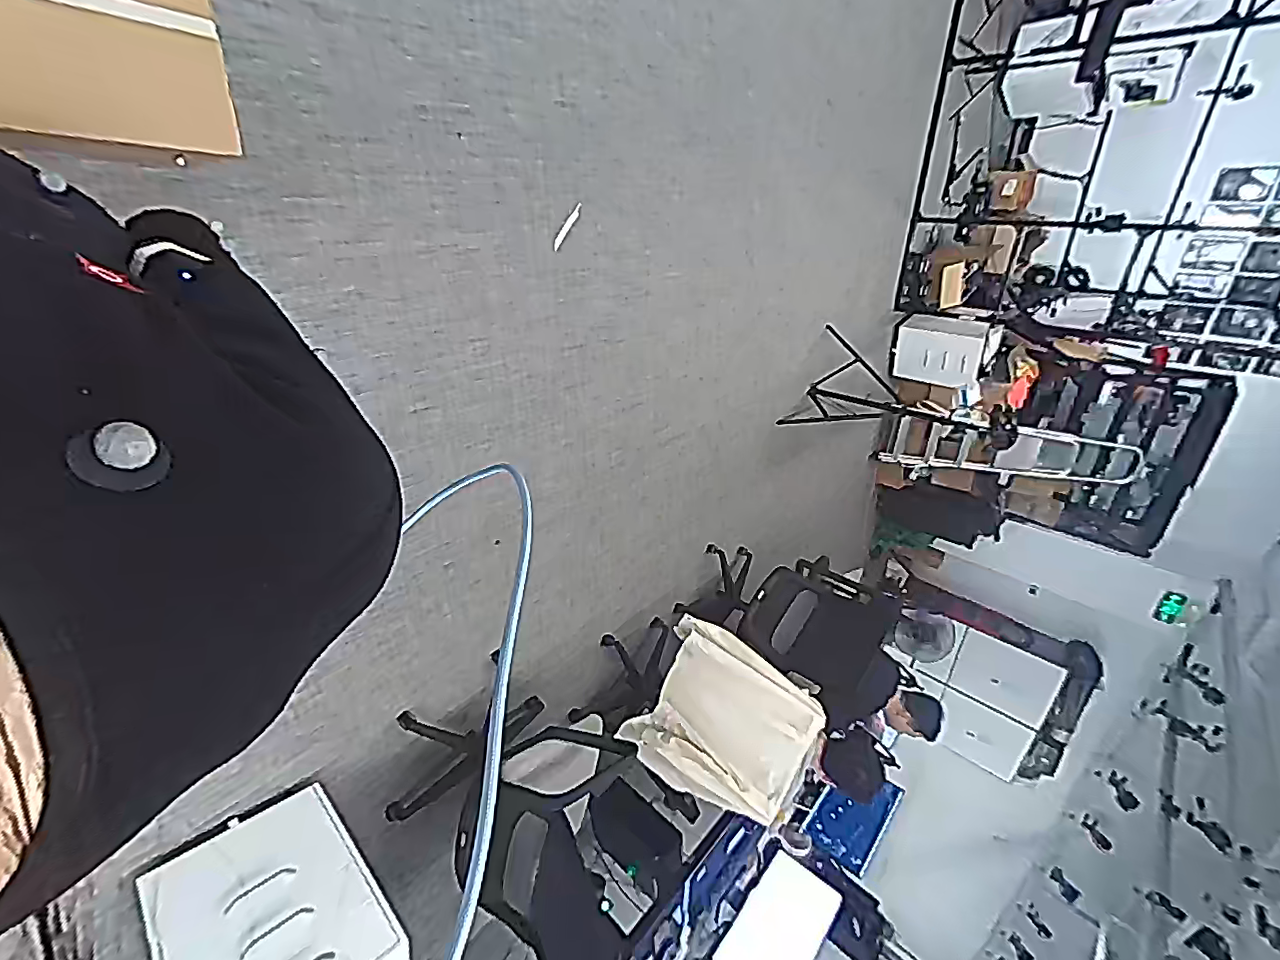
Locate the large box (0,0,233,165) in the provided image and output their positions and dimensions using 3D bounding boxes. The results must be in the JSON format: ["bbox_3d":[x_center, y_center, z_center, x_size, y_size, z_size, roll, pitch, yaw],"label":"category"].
[{"bbox_3d":[-0.858,-0.619,0.720,0.408,0.320,0.320,-22,123,-44],"label":"large box"}]
